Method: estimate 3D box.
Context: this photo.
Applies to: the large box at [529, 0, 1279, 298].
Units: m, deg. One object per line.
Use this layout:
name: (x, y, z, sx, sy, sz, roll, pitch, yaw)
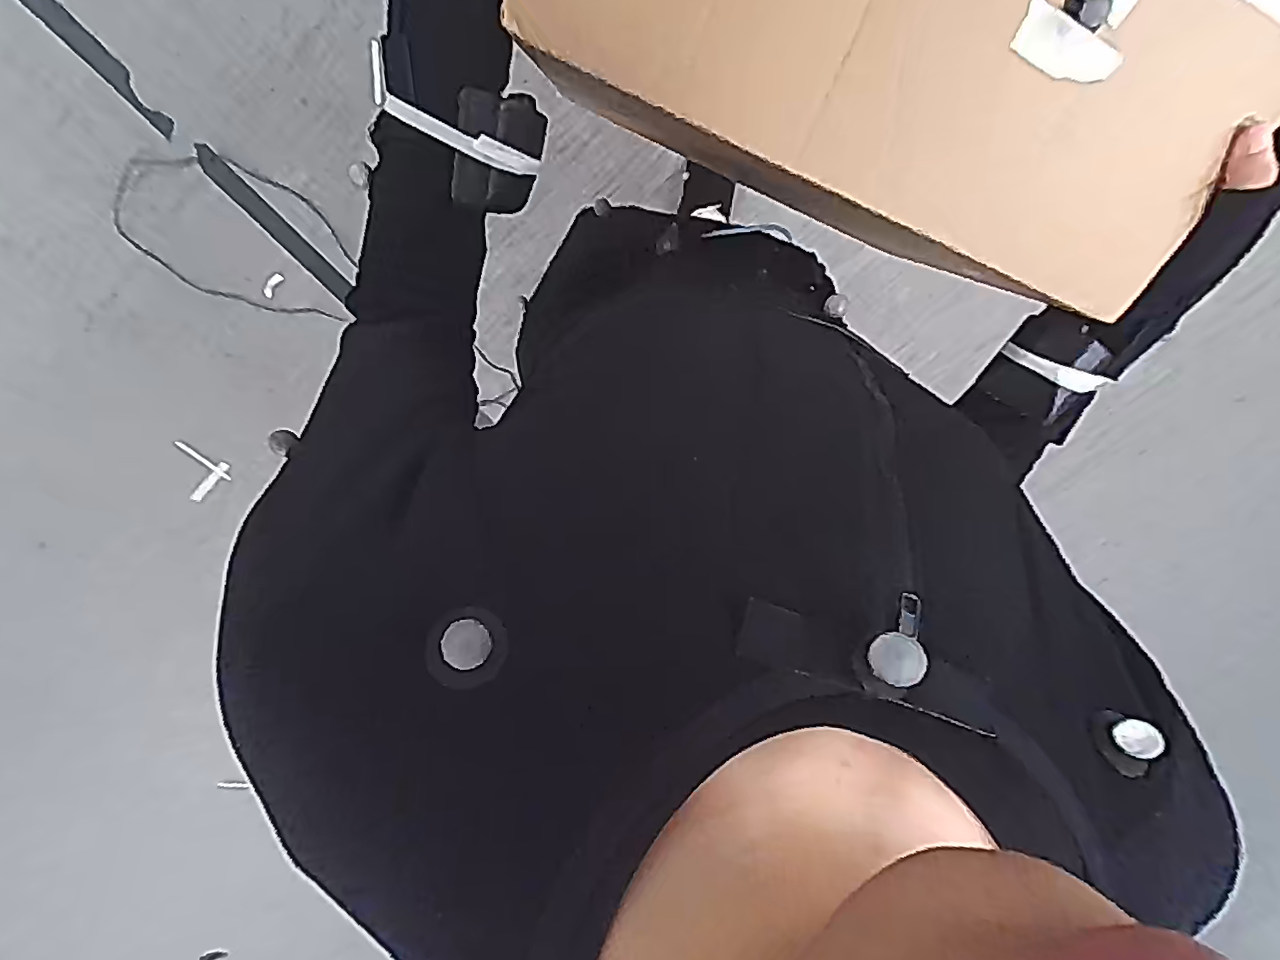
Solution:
large box: (0.170, -0.374, 0.381, 0.408, 0.320, 0.320, 18, 119, -13)
